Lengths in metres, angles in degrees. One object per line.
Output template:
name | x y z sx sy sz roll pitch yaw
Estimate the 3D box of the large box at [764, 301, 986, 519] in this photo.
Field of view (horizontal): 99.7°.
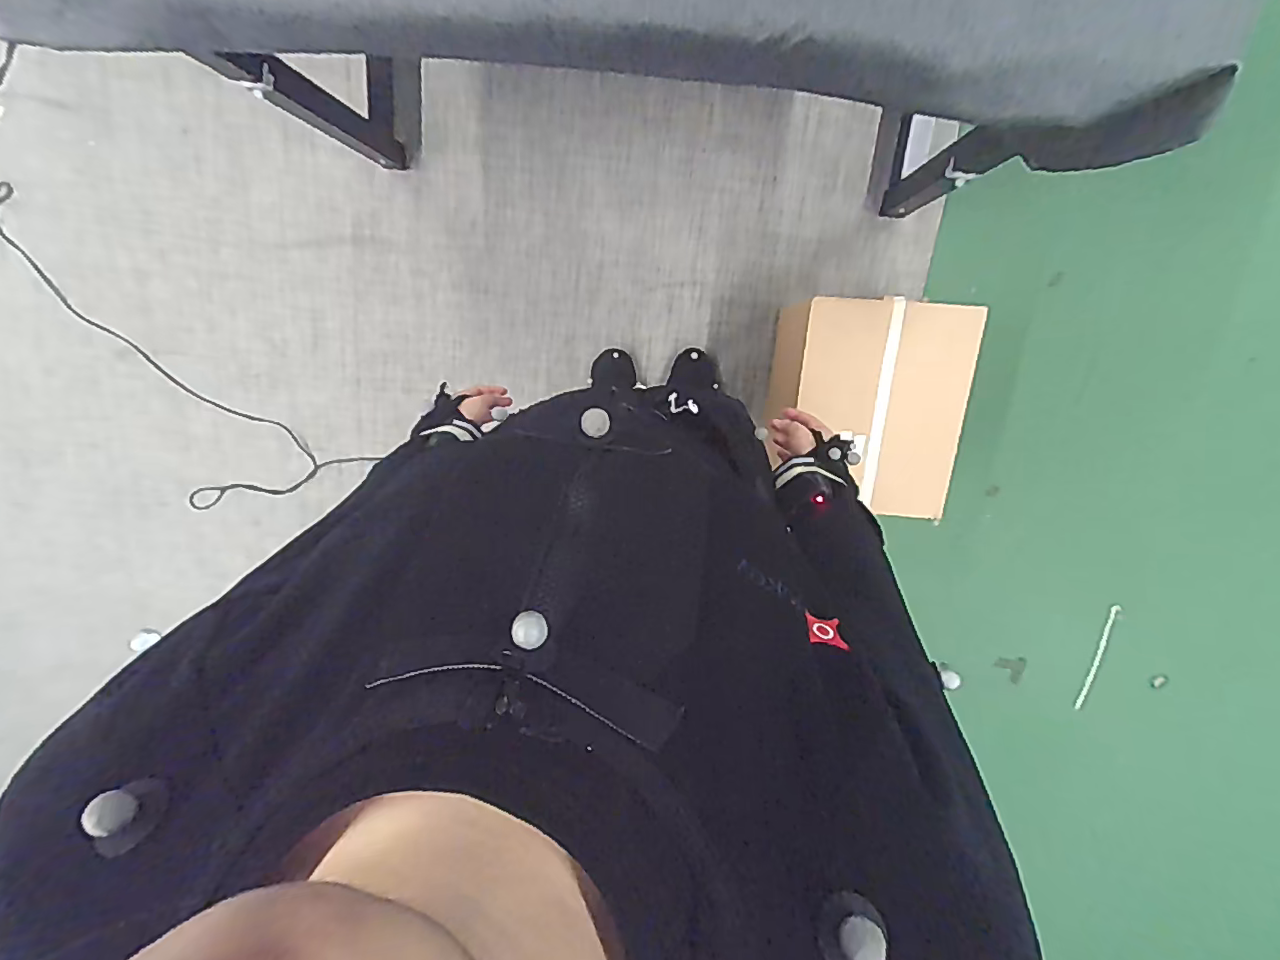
large box | 0.463 -0.162 1.156 0.320 0.320 0.408 4 105 3
